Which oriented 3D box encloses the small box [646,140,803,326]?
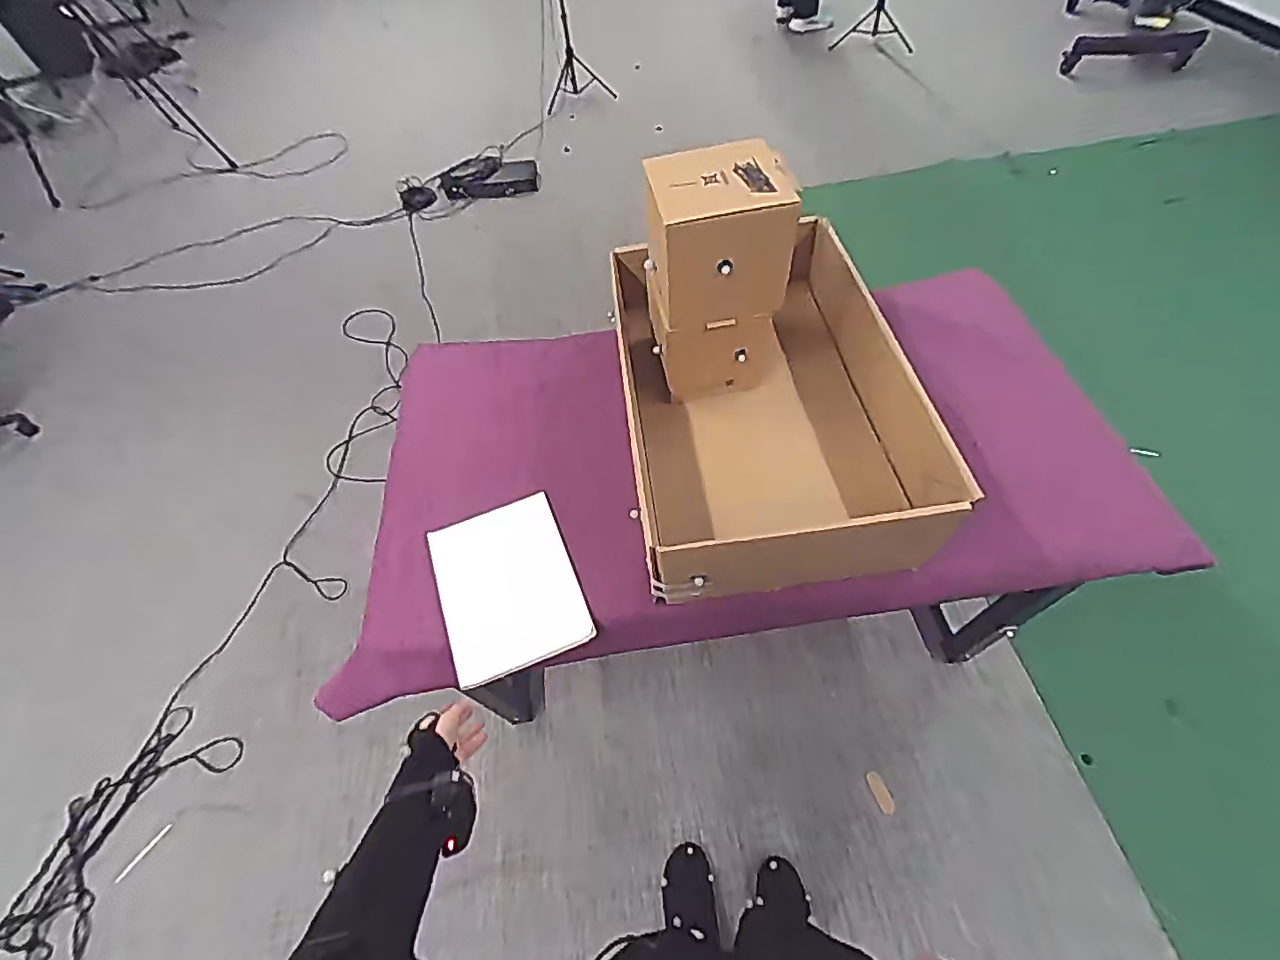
[{"bbox_3d":[0.110,-0.347,0.775,0.179,0.176,0.168,-11,57,-1],"label":"small box"}]
